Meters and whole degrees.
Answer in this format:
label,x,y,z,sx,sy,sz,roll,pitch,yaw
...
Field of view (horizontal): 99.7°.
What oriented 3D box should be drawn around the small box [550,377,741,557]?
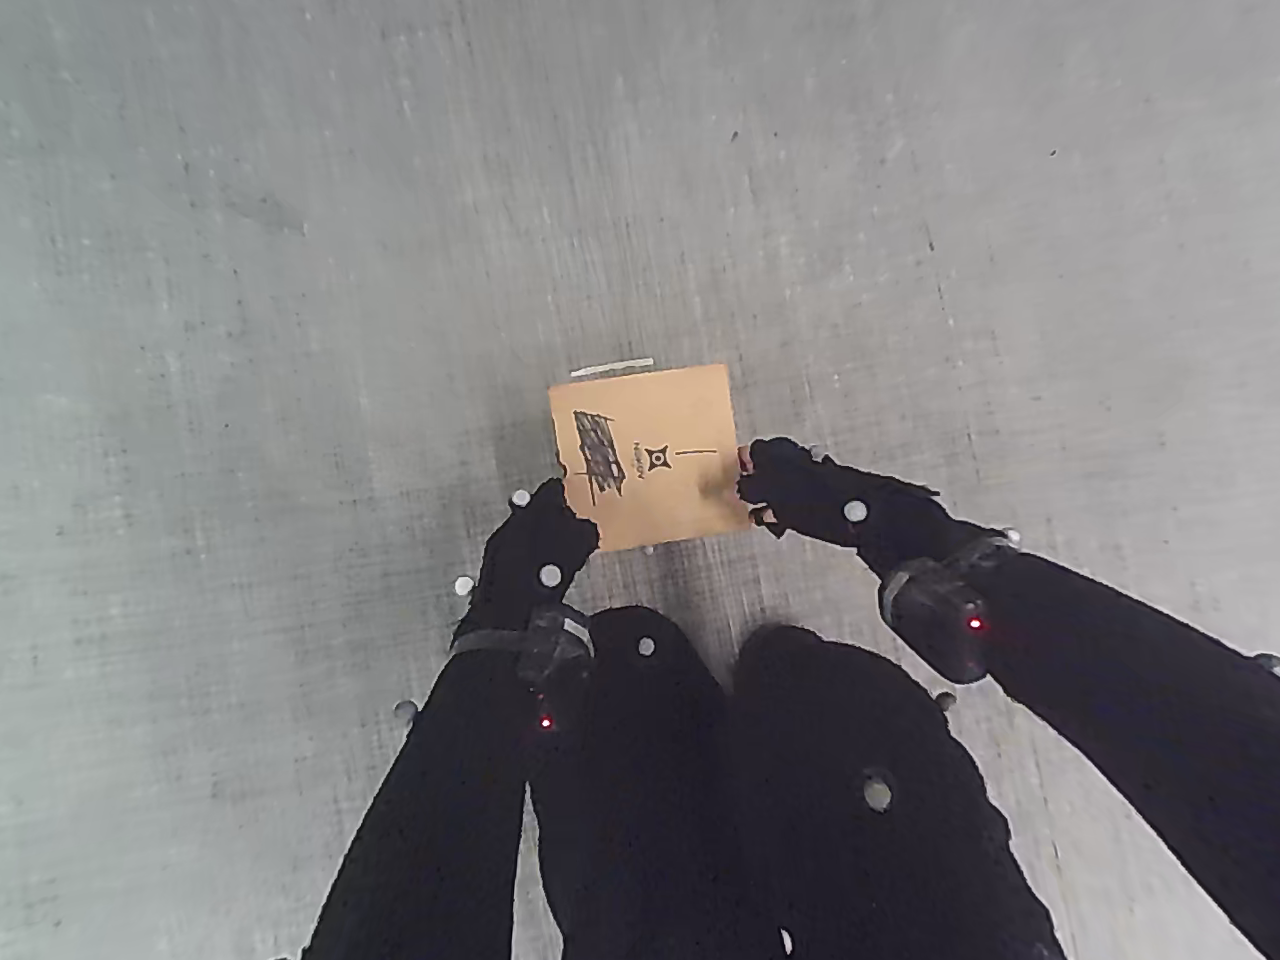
label,x,y,z,sx,sy,sz,roll,pitch,yaw
small box,0.003,-0.009,0.620,0.179,0.176,0.168,-8,88,-3
